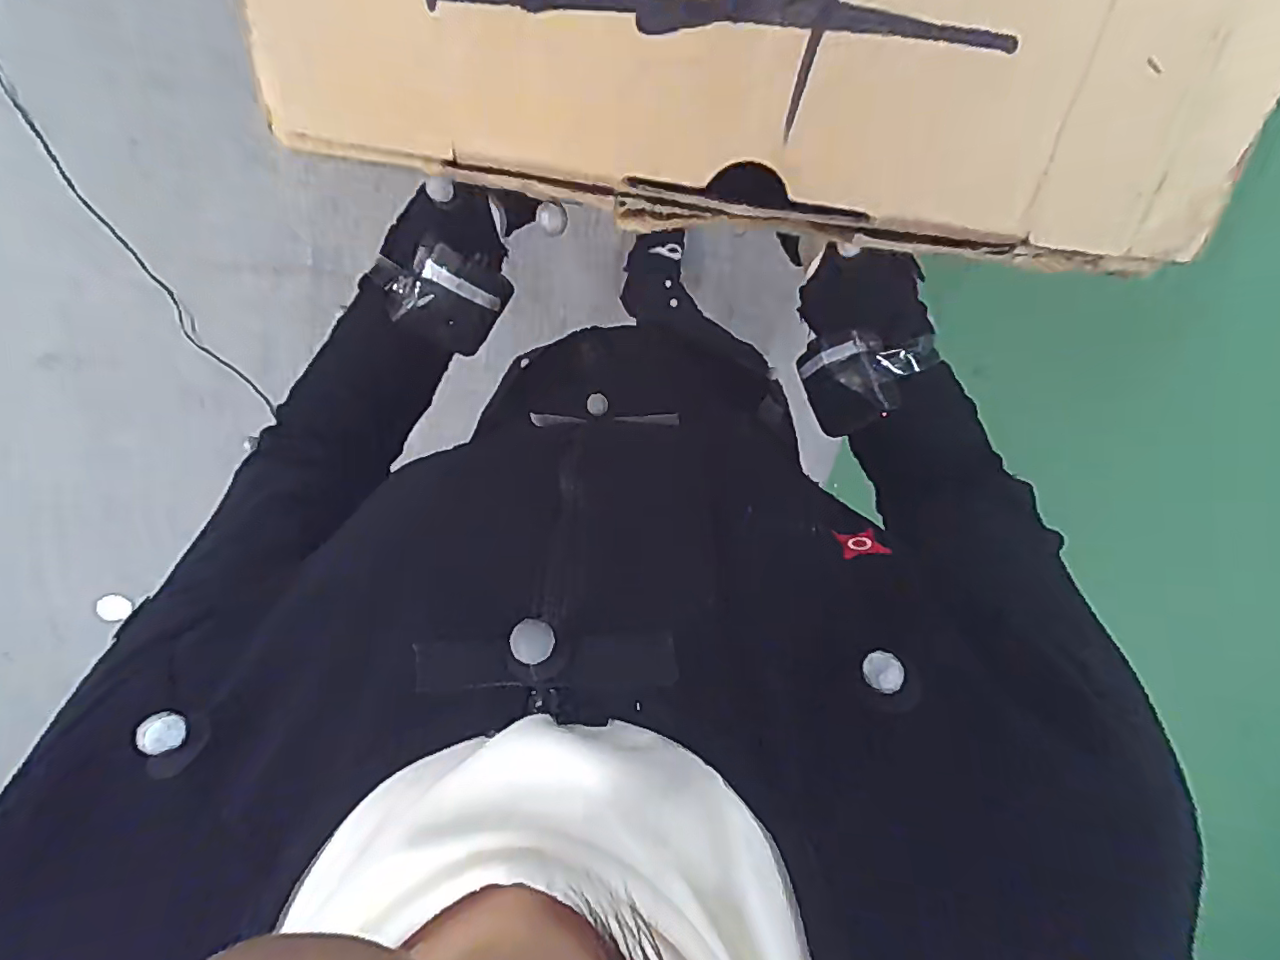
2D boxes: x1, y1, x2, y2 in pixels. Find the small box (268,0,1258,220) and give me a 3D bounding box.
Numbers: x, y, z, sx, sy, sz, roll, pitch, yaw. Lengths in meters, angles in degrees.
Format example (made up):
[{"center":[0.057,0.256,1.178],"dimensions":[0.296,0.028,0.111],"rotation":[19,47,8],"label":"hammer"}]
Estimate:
[{"center":[0.028,-0.172,0.133],"dimensions":[0.168,0.176,0.179],"rotation":[6,116,-5],"label":"small box"}]
